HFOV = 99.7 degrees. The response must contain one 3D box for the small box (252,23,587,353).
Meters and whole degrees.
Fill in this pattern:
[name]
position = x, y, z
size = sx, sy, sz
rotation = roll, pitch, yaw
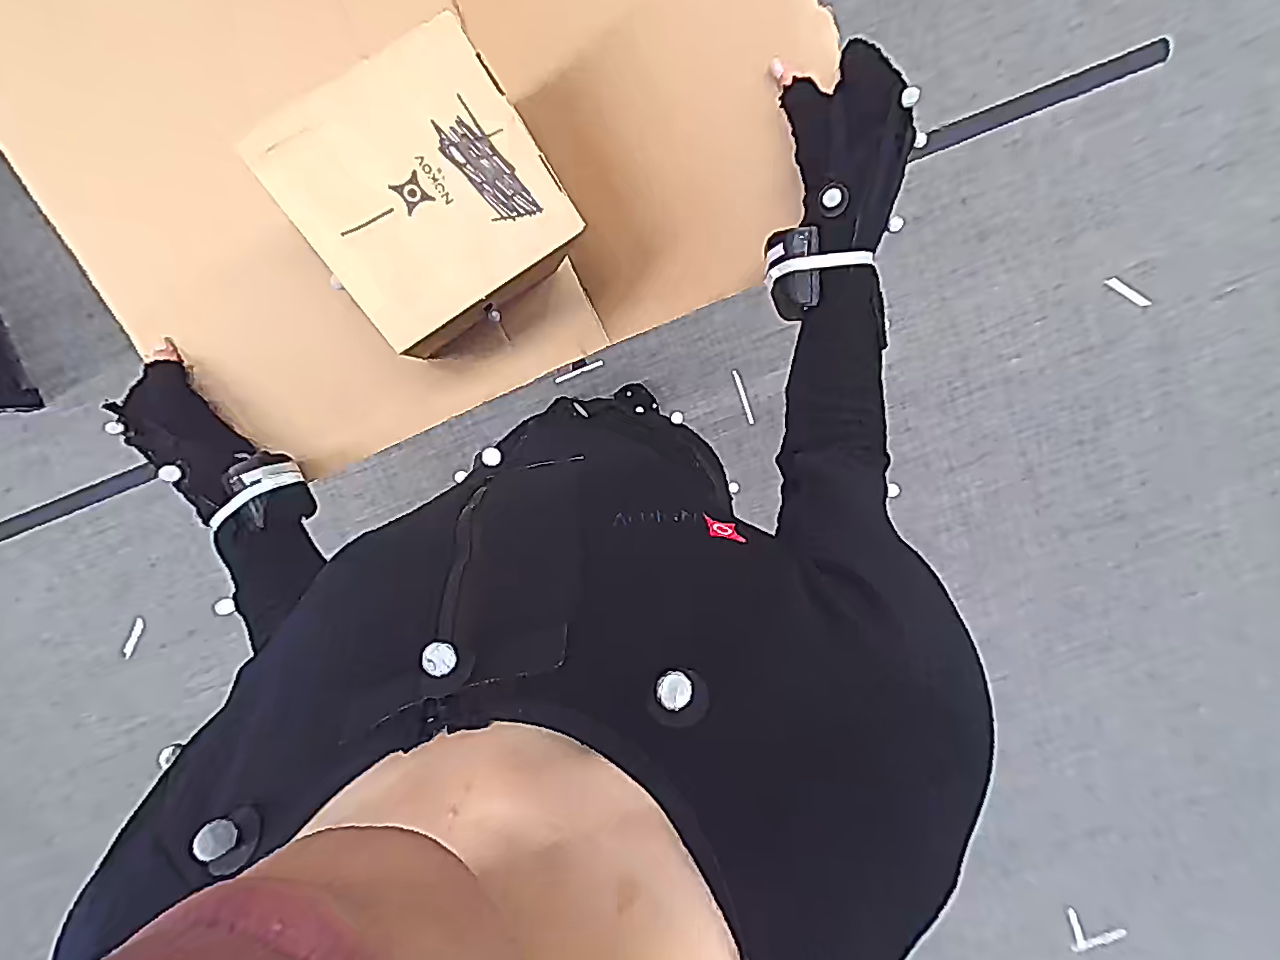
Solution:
[small box]
position = -0.174, -0.227, 0.471
size = 0.179, 0.176, 0.168
rotation = -36, 108, -6
